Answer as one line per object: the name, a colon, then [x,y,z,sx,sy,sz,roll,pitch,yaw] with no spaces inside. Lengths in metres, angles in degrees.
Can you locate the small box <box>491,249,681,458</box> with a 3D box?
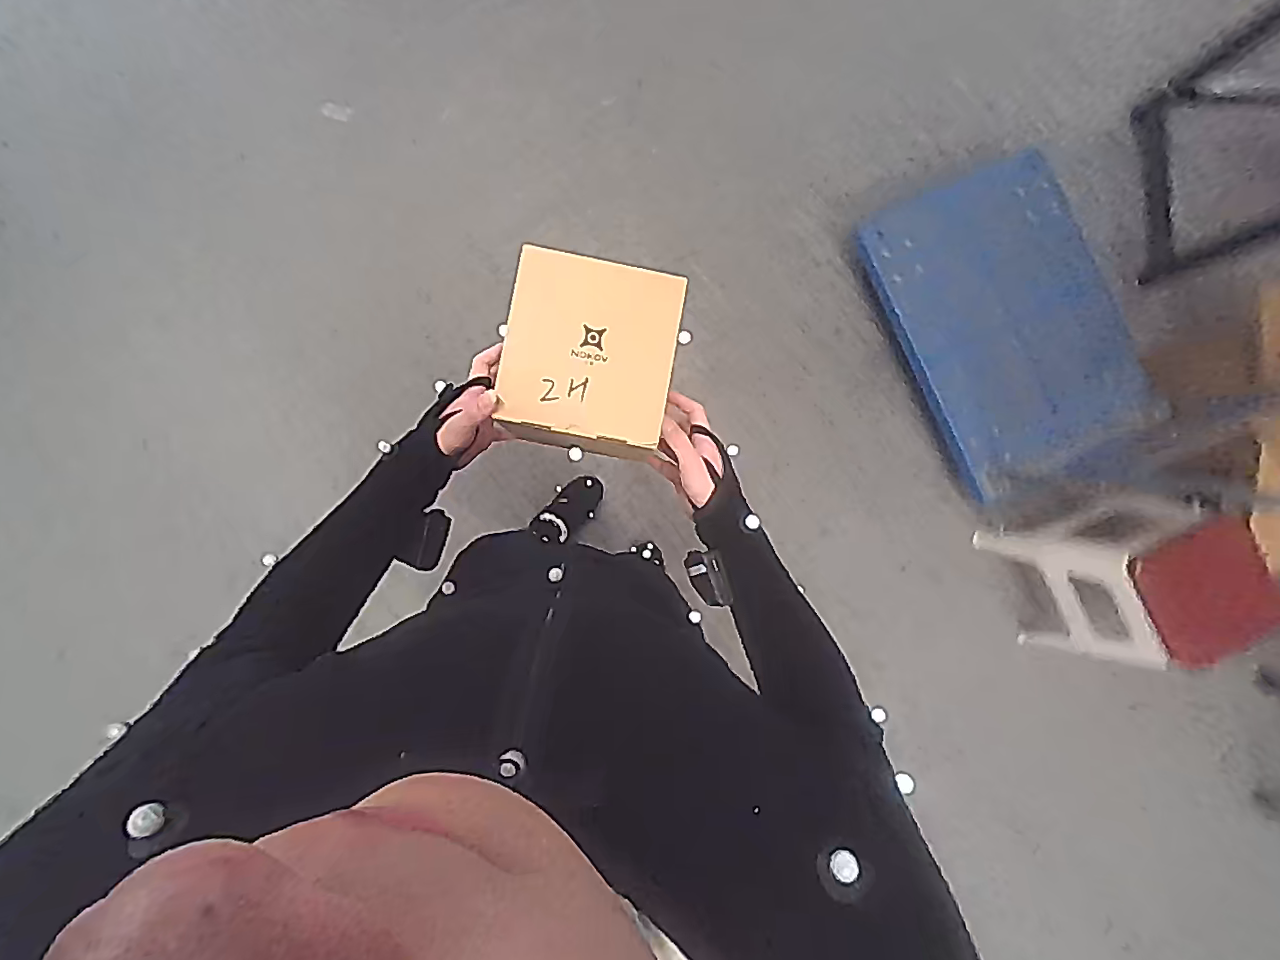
small box: [-0.059,-0.128,0.615,0.168,0.176,0.179,10,87,-4]
